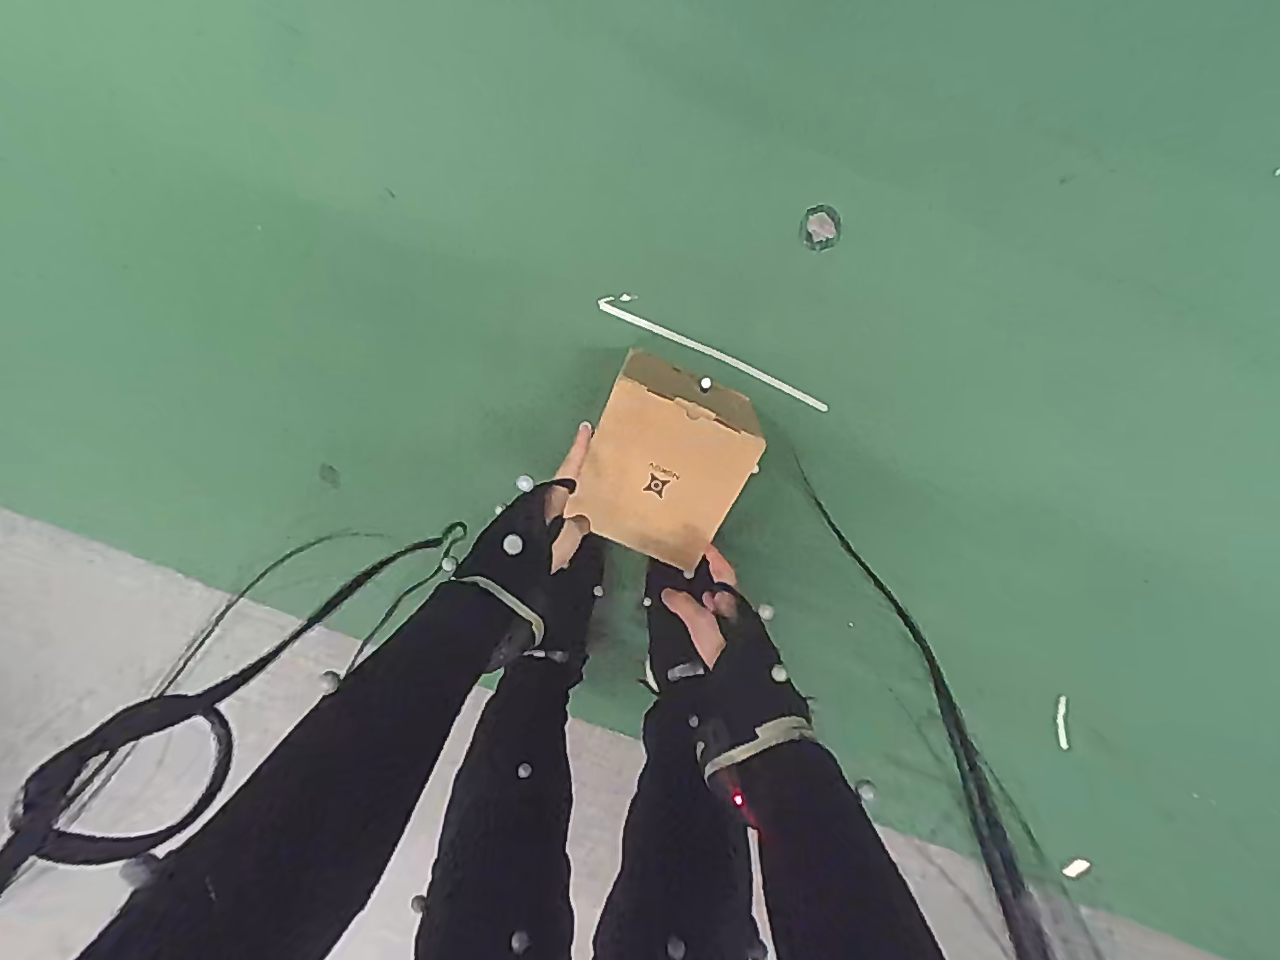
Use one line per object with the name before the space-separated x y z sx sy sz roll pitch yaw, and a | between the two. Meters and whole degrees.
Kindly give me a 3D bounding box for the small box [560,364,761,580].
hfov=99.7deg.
small box | 0.025 -0.018 0.650 0.168 0.176 0.179 24 111 -5
